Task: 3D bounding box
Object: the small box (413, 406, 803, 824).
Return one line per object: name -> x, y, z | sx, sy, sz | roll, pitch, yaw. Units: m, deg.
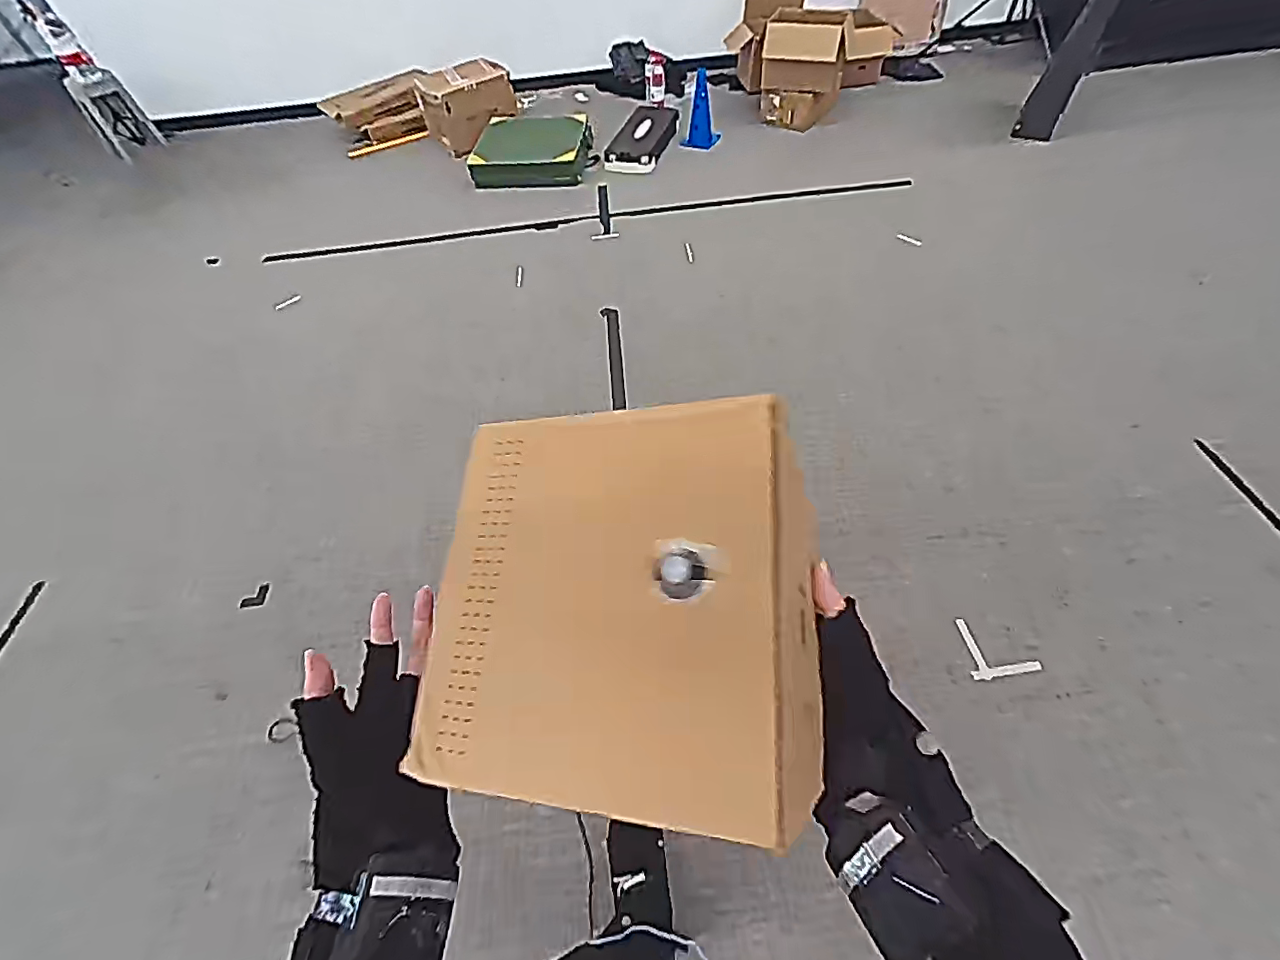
small box -> -0.003, 0.079, 0.319 | 0.176, 0.168, 0.179 | -4, 67, 22
